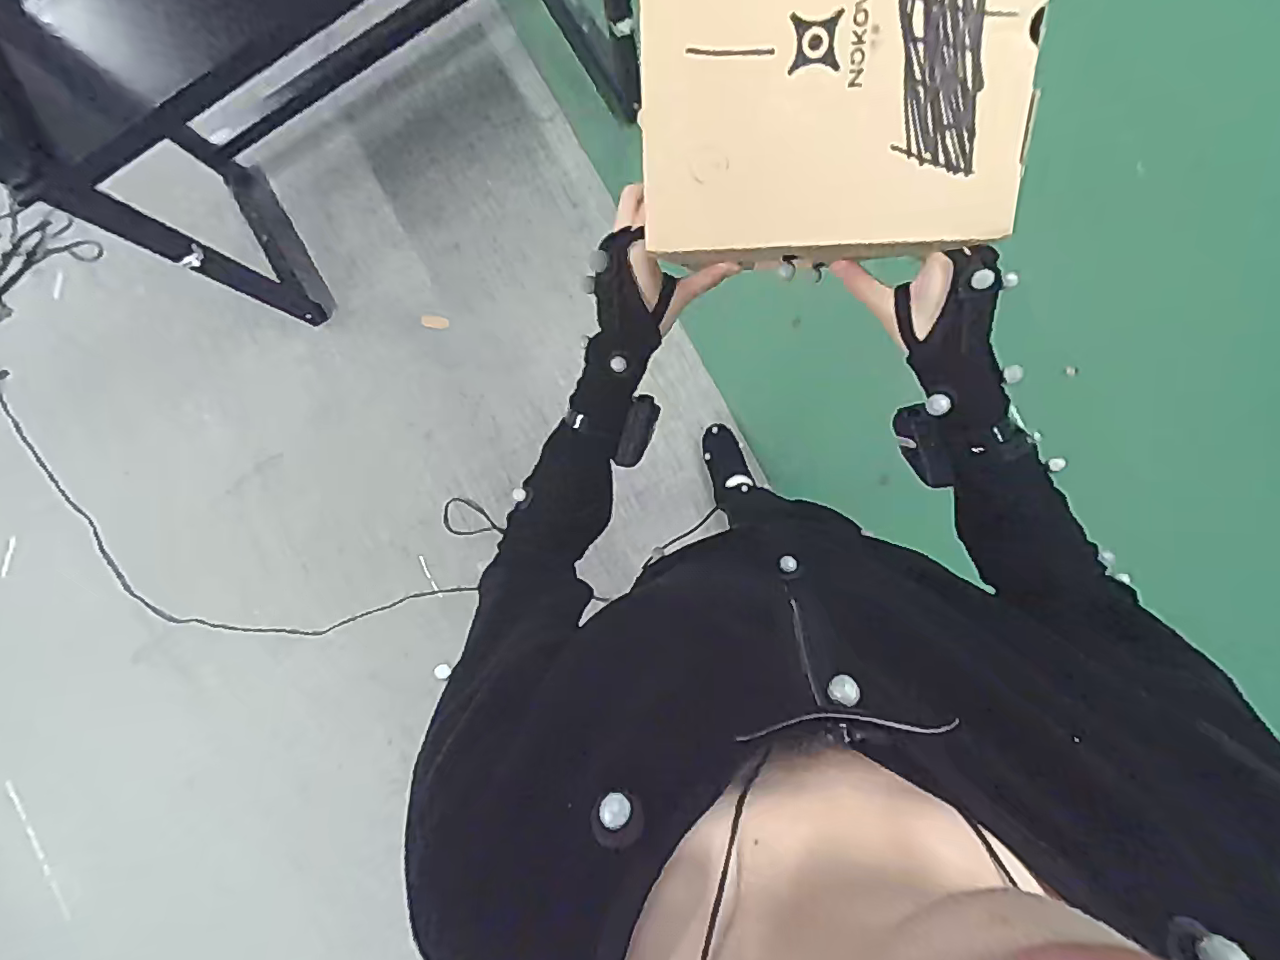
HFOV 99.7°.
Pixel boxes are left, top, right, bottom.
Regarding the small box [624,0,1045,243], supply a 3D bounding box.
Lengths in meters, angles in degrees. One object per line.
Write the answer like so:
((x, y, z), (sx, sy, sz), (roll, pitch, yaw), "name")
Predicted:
((0.089, -0.229, 0.302), (0.179, 0.176, 0.168), (1, 110, 8), "small box")
